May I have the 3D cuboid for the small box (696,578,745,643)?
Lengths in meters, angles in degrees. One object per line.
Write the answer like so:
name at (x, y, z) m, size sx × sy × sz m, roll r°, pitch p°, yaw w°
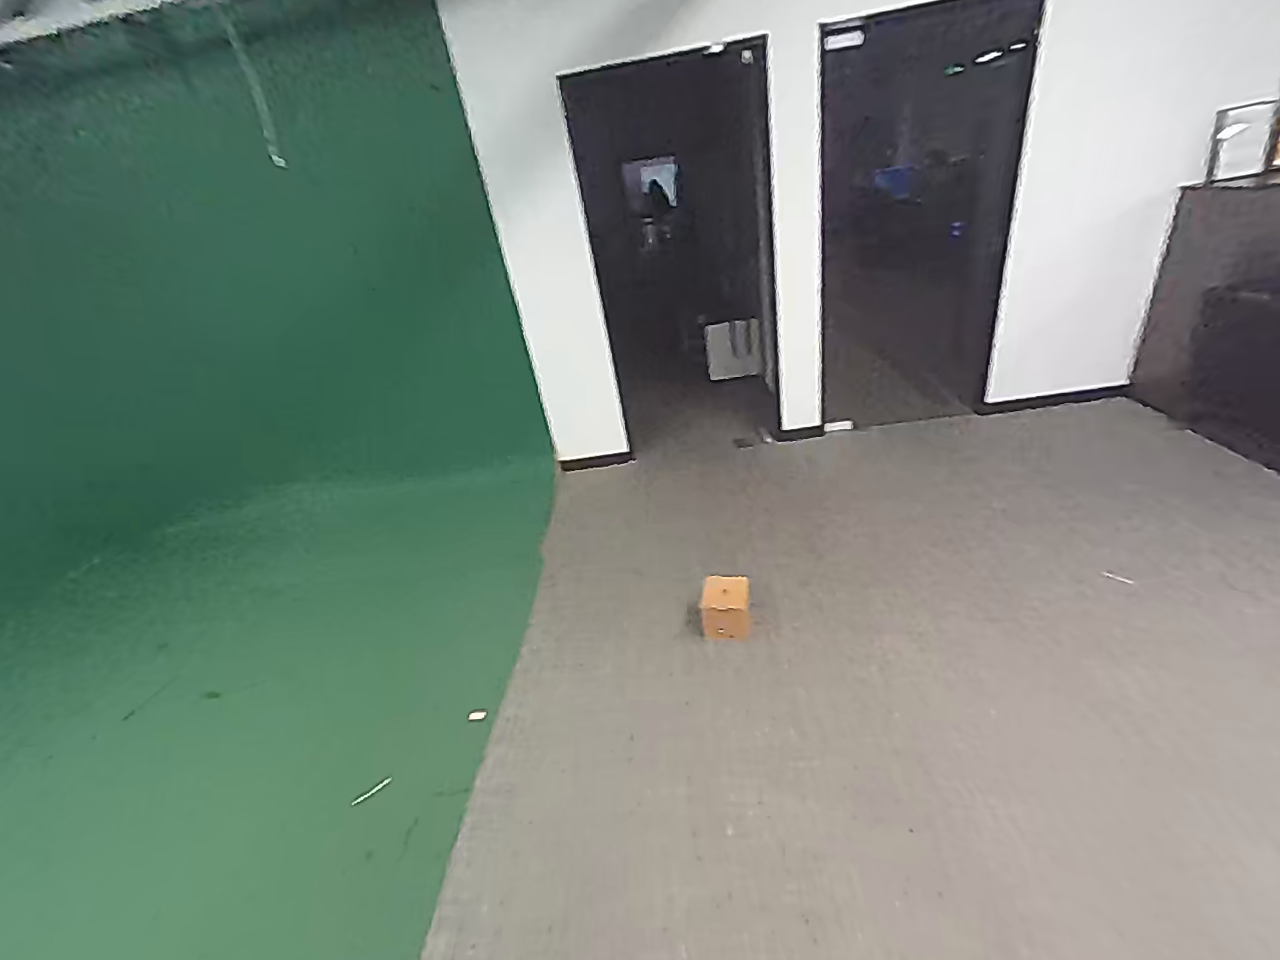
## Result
small box at (0.314, 0.500, 2.081) m, size 0.168 × 0.176 × 0.179 m, roll -1°, pitch 30°, yaw 15°
